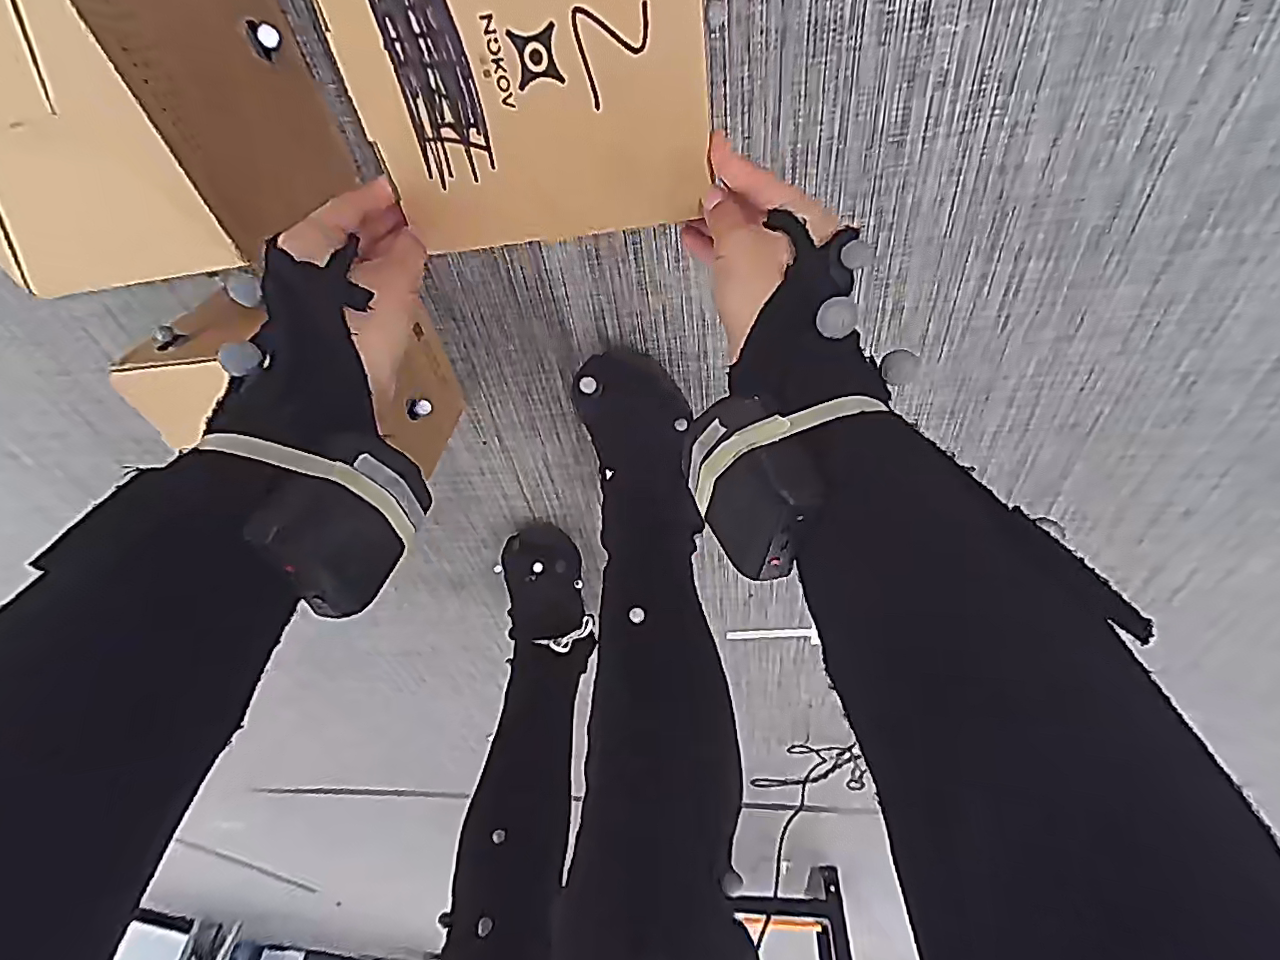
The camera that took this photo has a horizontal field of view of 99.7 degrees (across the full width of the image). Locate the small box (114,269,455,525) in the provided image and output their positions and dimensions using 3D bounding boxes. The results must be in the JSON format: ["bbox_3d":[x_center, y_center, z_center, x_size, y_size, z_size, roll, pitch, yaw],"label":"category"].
[{"bbox_3d":[-0.290,-0.078,0.498,0.179,0.176,0.168,-3,133,9],"label":"small box"}]
